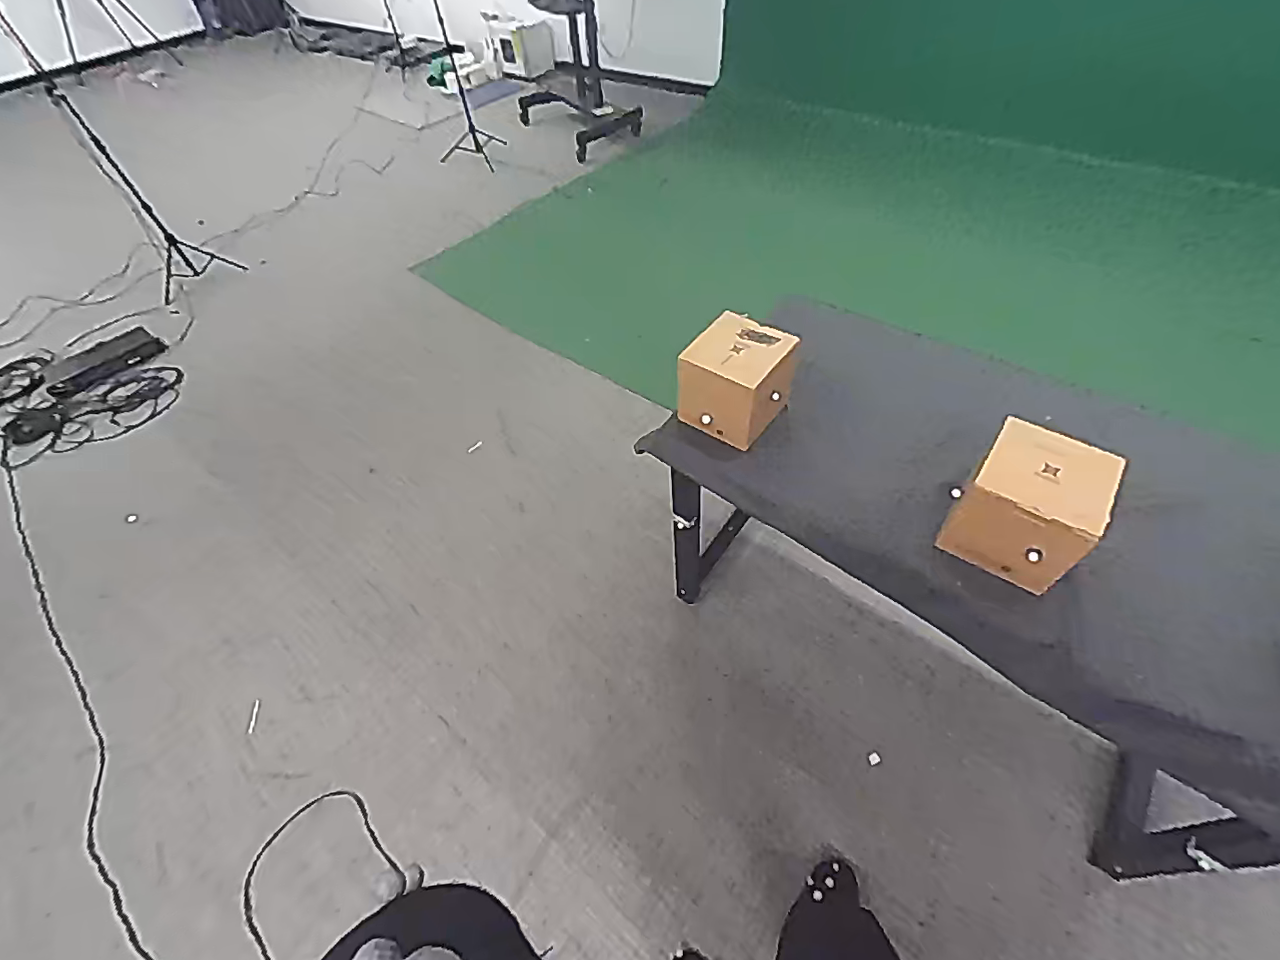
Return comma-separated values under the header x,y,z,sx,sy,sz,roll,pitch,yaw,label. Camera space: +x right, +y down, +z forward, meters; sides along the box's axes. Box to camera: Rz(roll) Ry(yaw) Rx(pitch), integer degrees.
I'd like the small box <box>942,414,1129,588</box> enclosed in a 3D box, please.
x,y,z,sx,sy,sz,roll,pitch,yaw,label
0.603,0.036,0.845,0.168,0.176,0.179,30,58,24,small box

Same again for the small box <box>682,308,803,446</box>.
x,y,z,sx,sy,sz,roll,pitch,yaw,label
0.194,-0.203,1.066,0.168,0.176,0.179,30,60,25,small box
